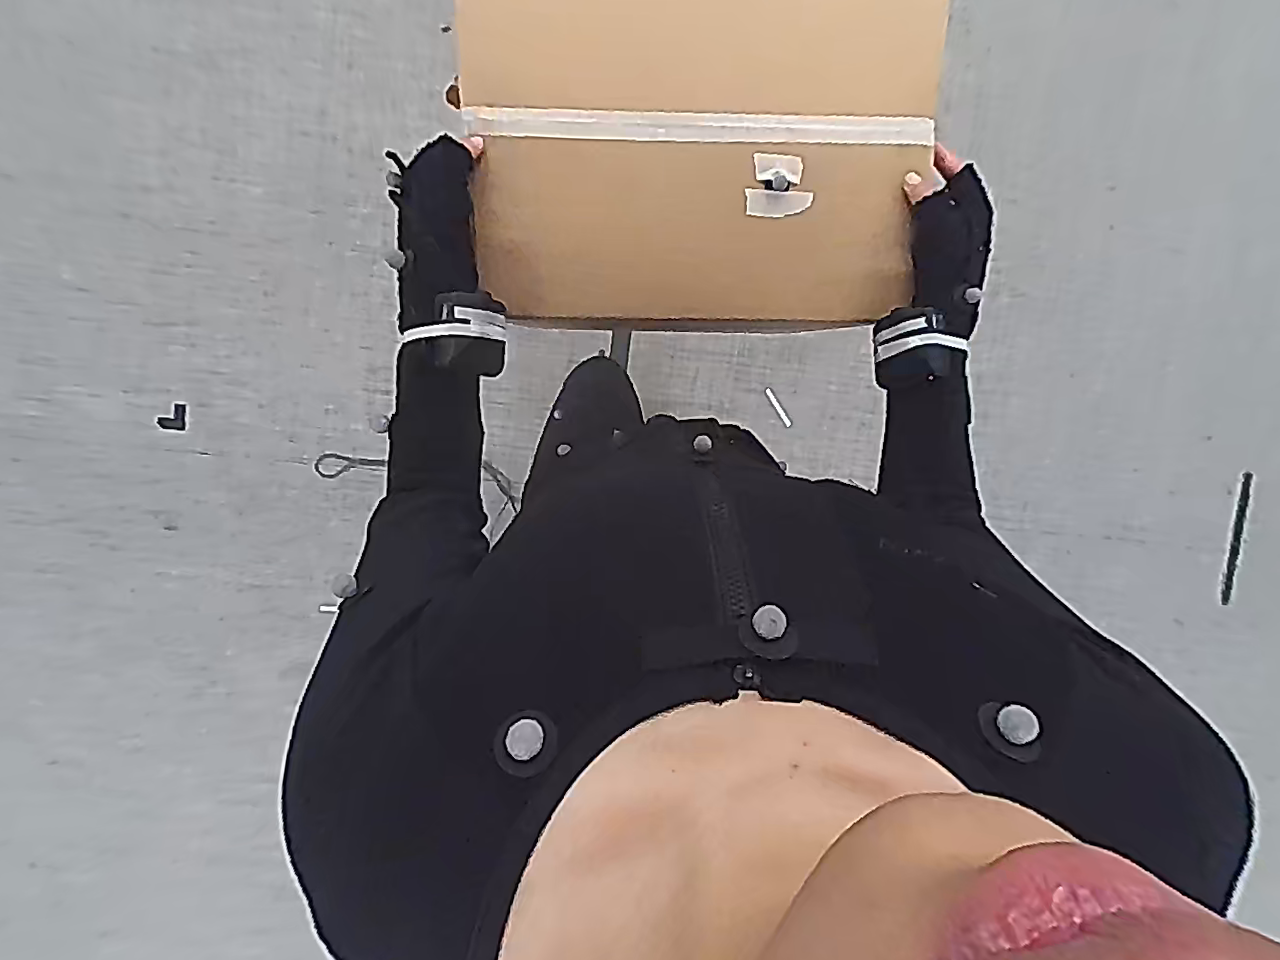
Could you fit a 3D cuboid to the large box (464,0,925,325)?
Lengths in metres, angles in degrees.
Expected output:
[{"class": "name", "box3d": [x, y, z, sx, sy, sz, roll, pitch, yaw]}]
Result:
[{"class": "large box", "box3d": [0.042, -0.351, 0.627, 0.408, 0.320, 0.320, -1, 104, -3]}]
